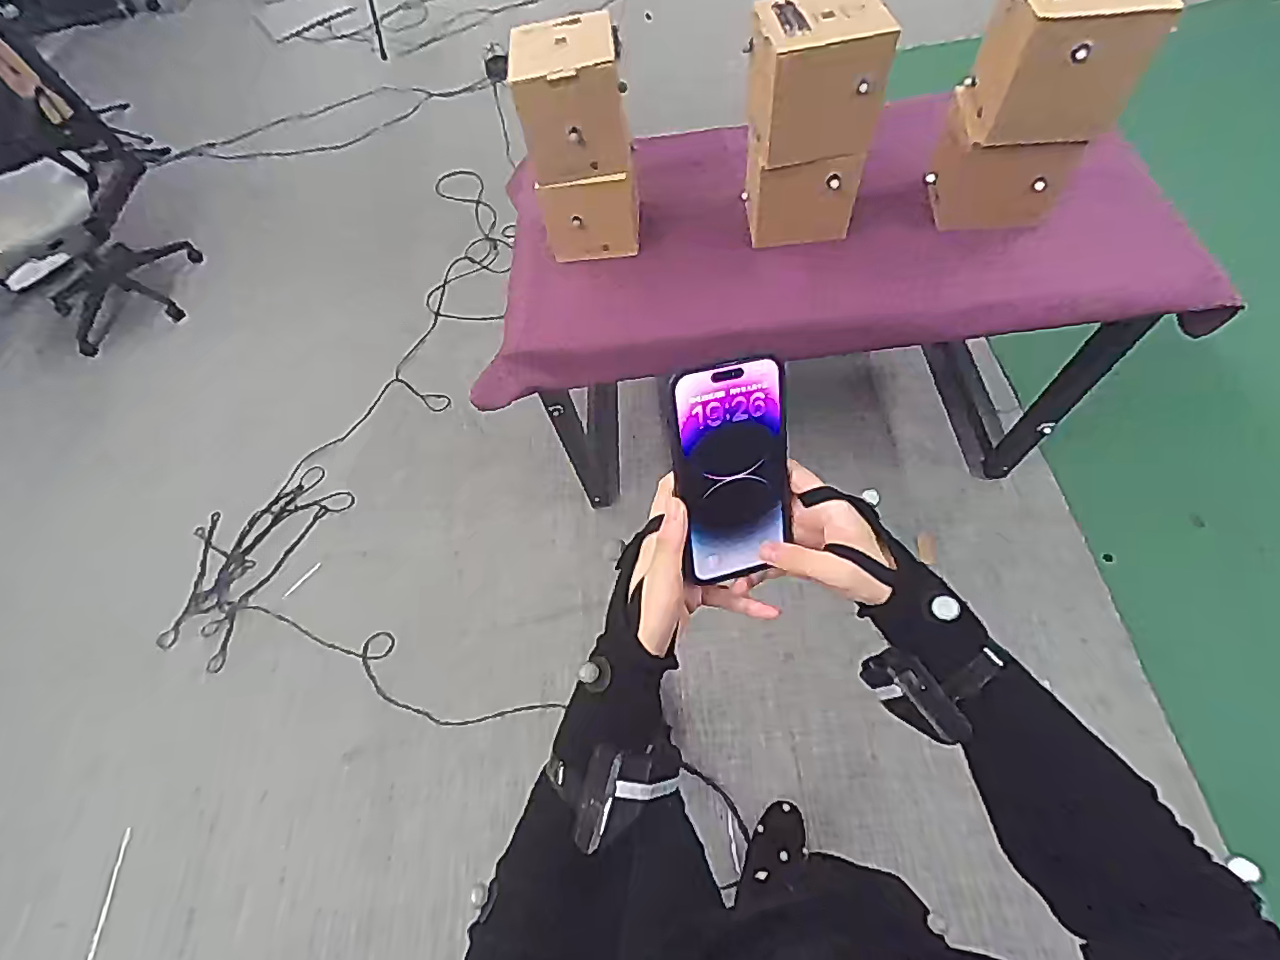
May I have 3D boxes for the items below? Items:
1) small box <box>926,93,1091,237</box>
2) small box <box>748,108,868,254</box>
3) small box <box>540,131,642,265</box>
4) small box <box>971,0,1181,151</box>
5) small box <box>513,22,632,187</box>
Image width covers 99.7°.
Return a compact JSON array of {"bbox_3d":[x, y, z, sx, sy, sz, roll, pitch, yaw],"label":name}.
[{"bbox_3d":[0.638,-0.556,0.960,0.179,0.176,0.168,2,61,10],"label":"small box"},{"bbox_3d":[0.300,-0.548,1.005,0.179,0.176,0.168,-4,61,7],"label":"small box"},{"bbox_3d":[-0.087,-0.542,1.062,0.168,0.176,0.179,-3,61,7],"label":"small box"},{"bbox_3d":[0.625,-0.621,0.810,0.179,0.176,0.168,2,62,9],"label":"small box"},{"bbox_3d":[-0.108,-0.628,0.923,0.168,0.176,0.179,-7,61,4],"label":"small box"}]
